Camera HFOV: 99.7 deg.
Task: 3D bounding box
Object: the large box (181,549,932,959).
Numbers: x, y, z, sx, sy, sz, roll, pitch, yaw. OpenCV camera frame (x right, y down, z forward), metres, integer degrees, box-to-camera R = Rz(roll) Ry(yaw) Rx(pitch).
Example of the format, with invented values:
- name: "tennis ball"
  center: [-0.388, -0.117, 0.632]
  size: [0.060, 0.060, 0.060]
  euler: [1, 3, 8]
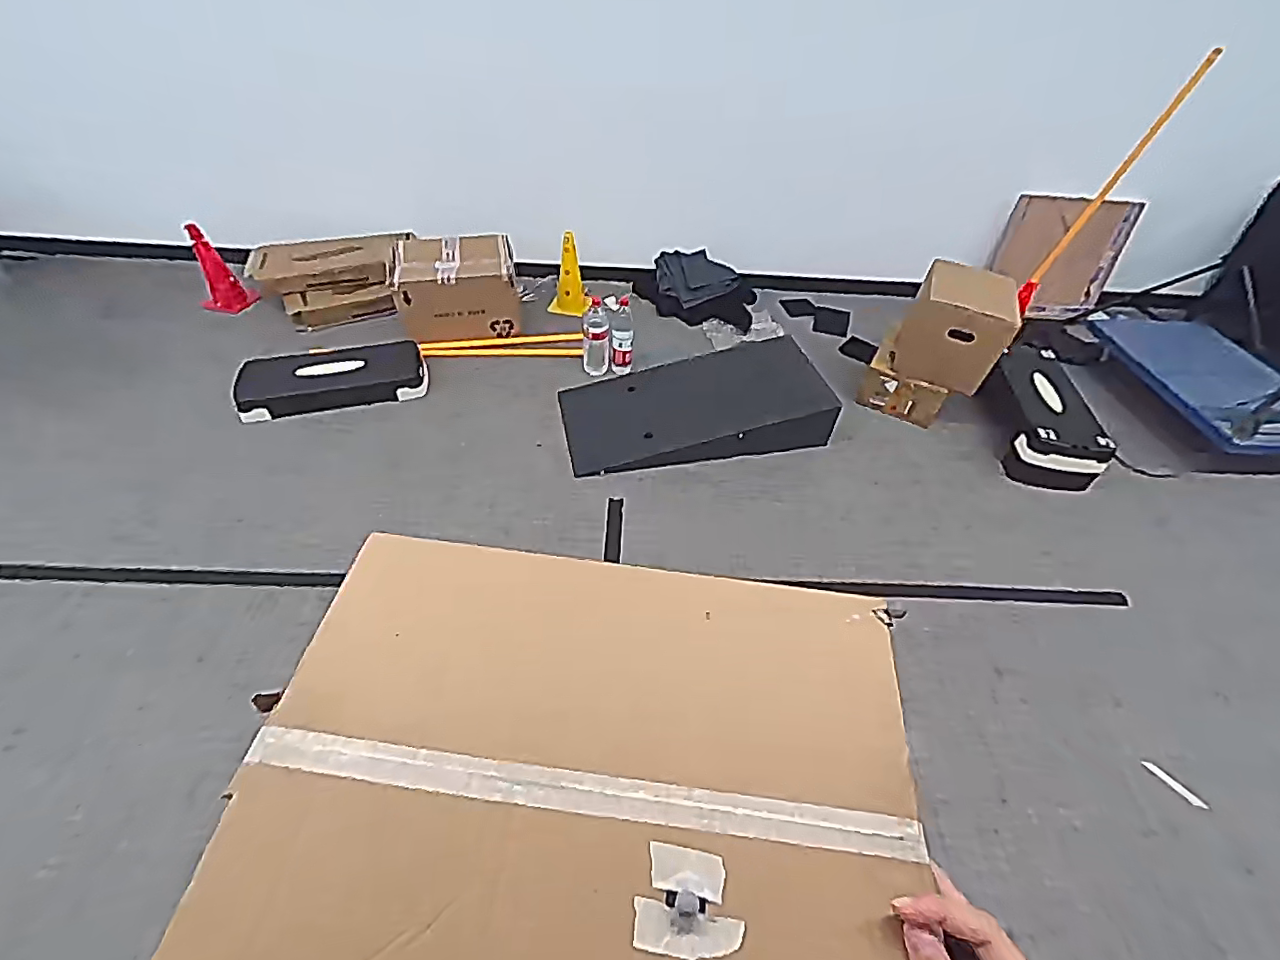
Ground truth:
- name: "large box"
  center: [-0.039, 0.286, 0.452]
  size: [0.408, 0.320, 0.320]
  euler: [7, 53, 2]
